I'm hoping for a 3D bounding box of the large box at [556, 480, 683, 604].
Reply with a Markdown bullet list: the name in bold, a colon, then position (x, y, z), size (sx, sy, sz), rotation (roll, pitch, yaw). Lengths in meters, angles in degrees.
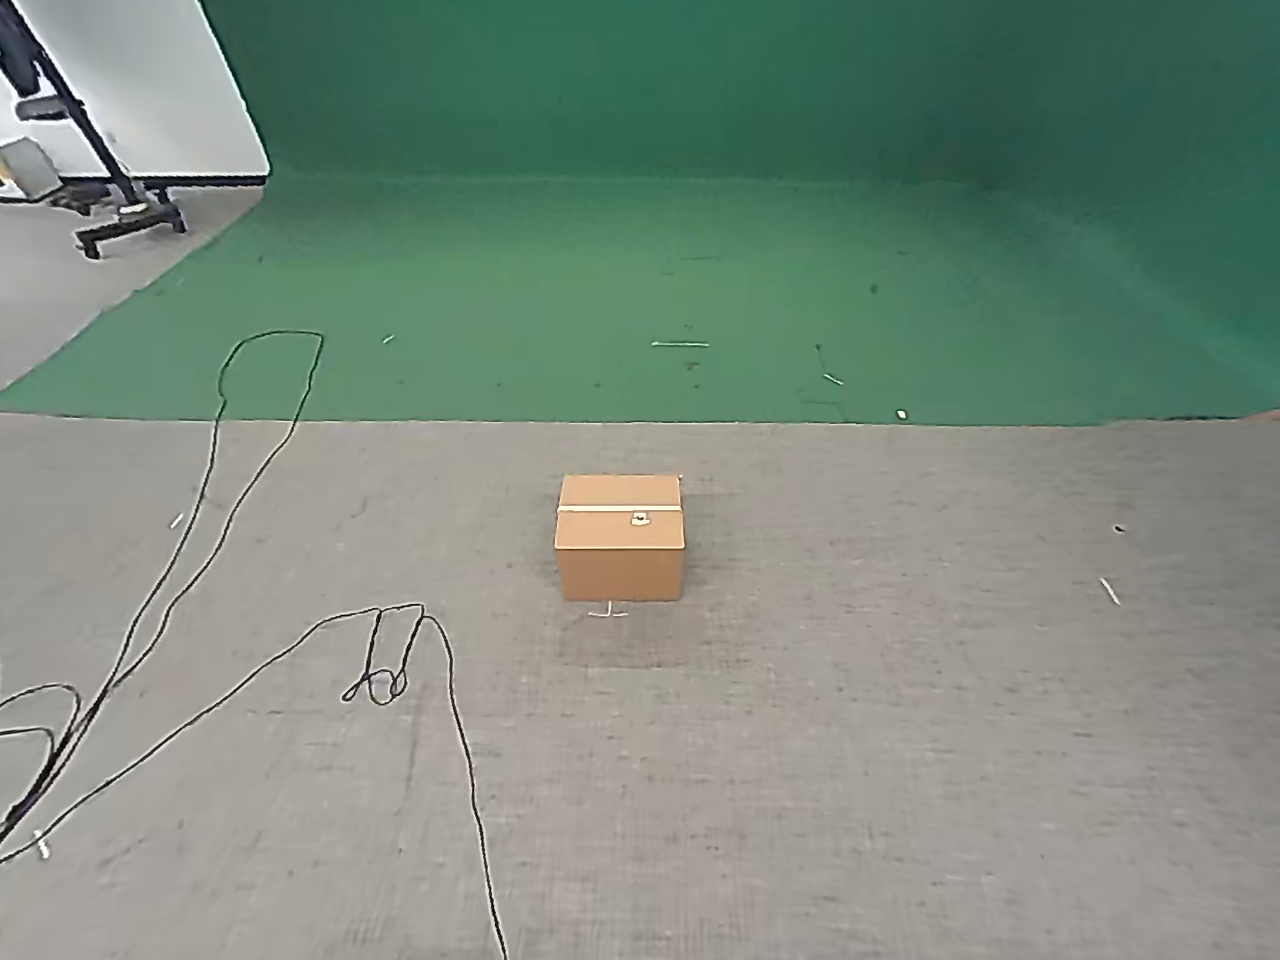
- **large box**: position (-0.070, 0.218, 1.884), size (0.408, 0.320, 0.320), rotation (-1, 46, -1)
